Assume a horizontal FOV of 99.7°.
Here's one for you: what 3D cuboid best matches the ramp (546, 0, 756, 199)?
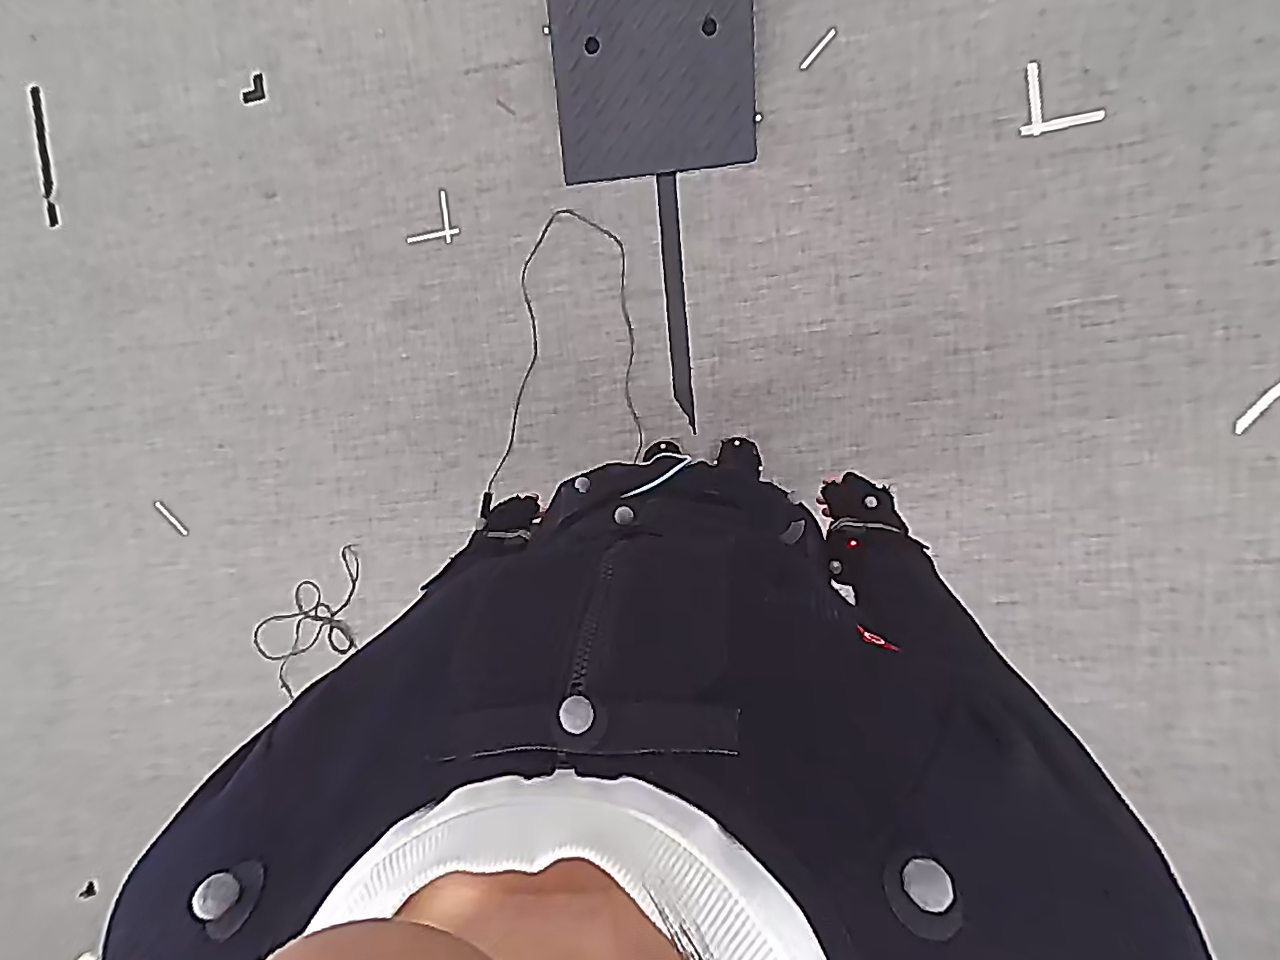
[{"bbox_3d":[0.006,-1.245,1.287,0.509,0.206,0.991,-6,94,8],"label":"ramp"}]
